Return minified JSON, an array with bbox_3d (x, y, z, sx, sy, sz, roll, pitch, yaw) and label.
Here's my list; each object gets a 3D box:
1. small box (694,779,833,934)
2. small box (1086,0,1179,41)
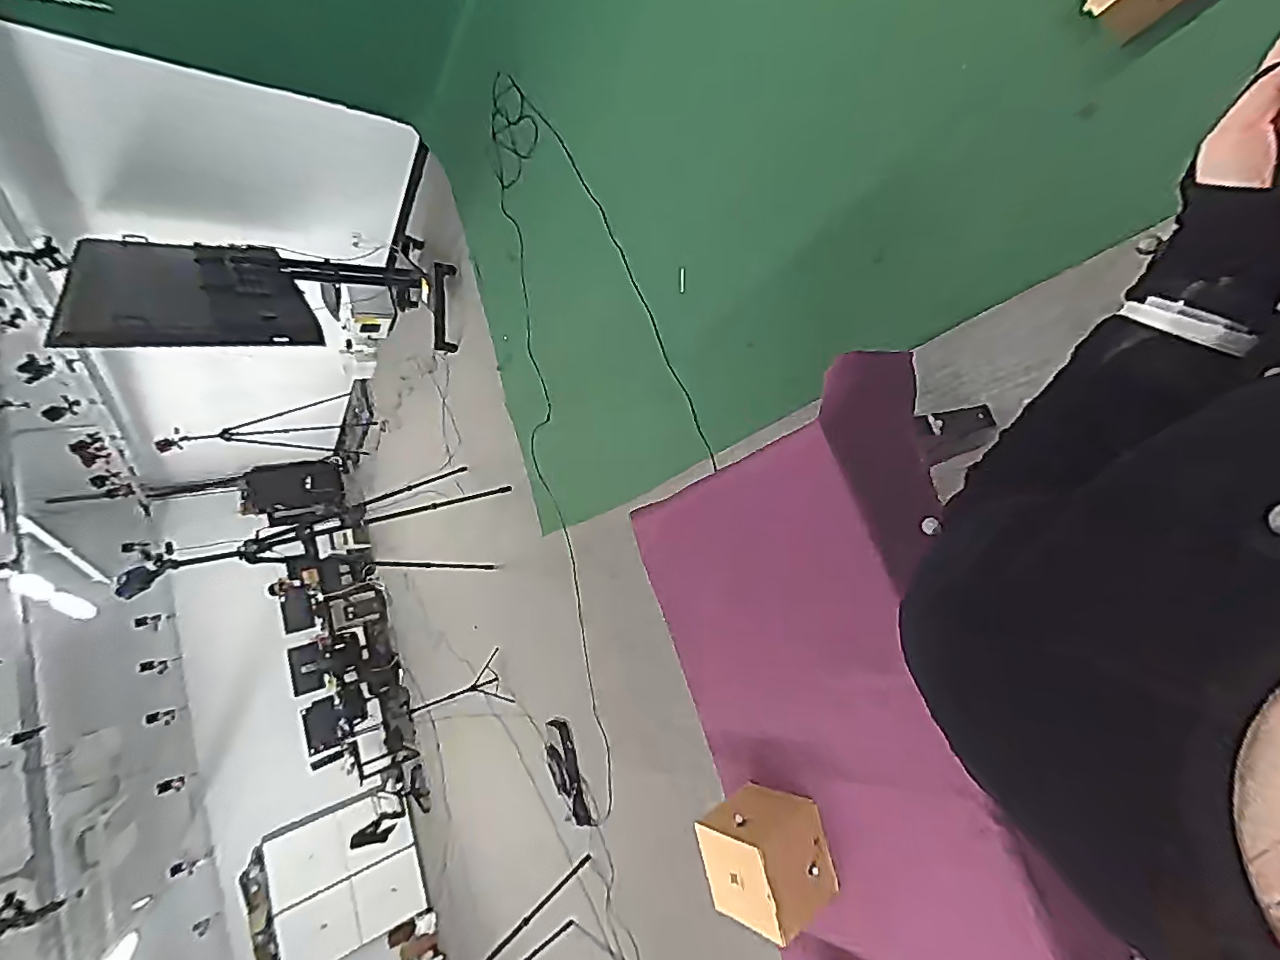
[{"bbox_3d":[0.238,0.710,1.048,0.179,0.176,0.168,-21,81,51],"label":"small box"},{"bbox_3d":[0.915,-0.957,0.974,0.179,0.176,0.168,-26,78,53],"label":"small box"}]
